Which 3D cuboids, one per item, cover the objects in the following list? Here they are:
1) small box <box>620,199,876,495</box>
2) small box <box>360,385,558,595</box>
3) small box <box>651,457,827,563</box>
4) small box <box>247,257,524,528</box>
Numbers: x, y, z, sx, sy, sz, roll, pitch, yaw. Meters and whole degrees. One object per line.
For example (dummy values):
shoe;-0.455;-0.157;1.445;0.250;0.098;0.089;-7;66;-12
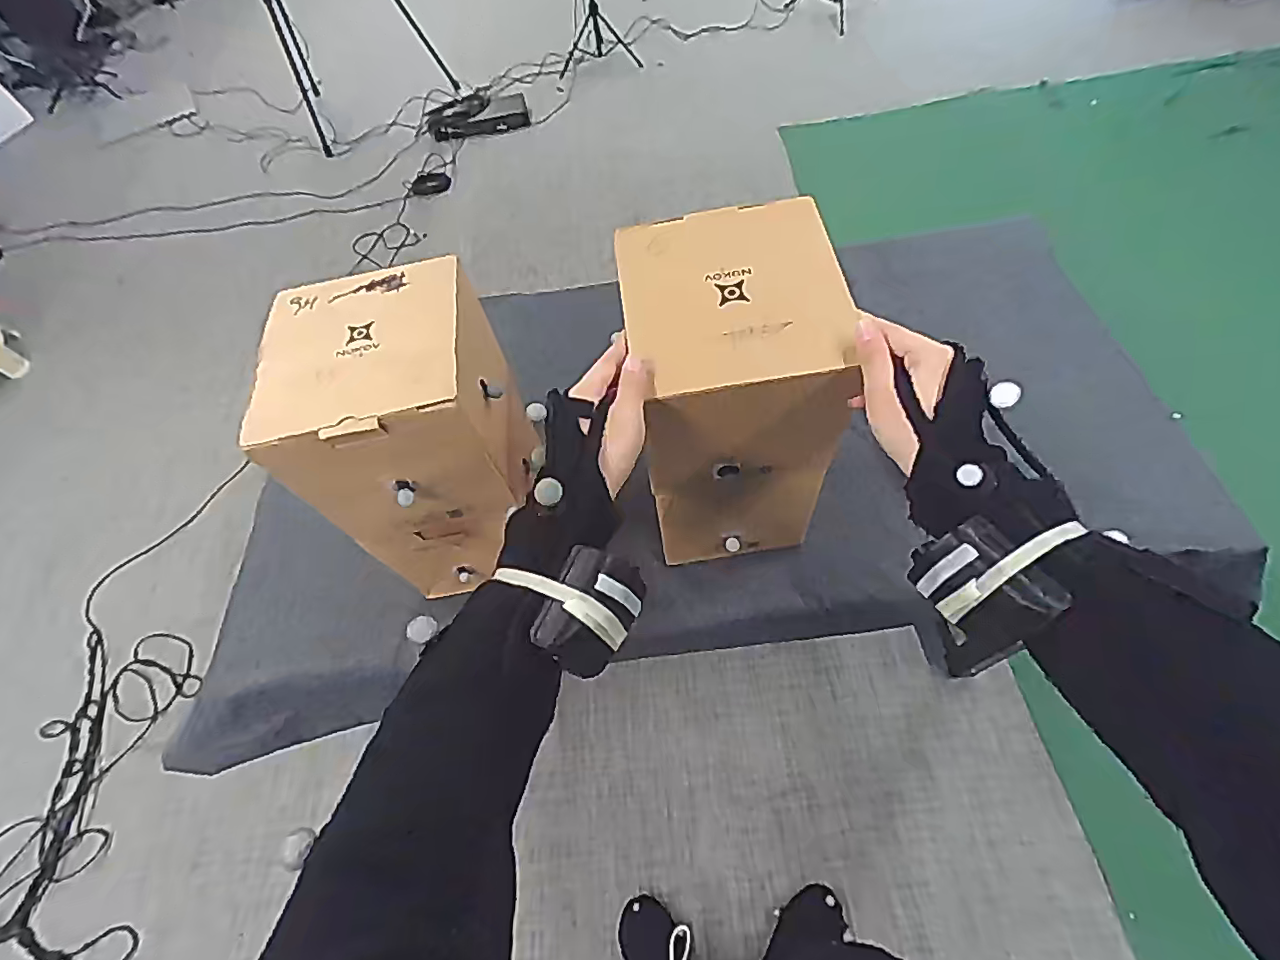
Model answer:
small box;0.079;-0.107;0.479;0.168;0.176;0.179;-9;64;3
small box;-0.200;0.016;0.644;0.168;0.176;0.179;-11;58;1
small box;0.096;-0.025;0.626;0.168;0.176;0.179;-10;57;2
small box;-0.213;-0.068;0.504;0.168;0.176;0.179;-12;59;0
